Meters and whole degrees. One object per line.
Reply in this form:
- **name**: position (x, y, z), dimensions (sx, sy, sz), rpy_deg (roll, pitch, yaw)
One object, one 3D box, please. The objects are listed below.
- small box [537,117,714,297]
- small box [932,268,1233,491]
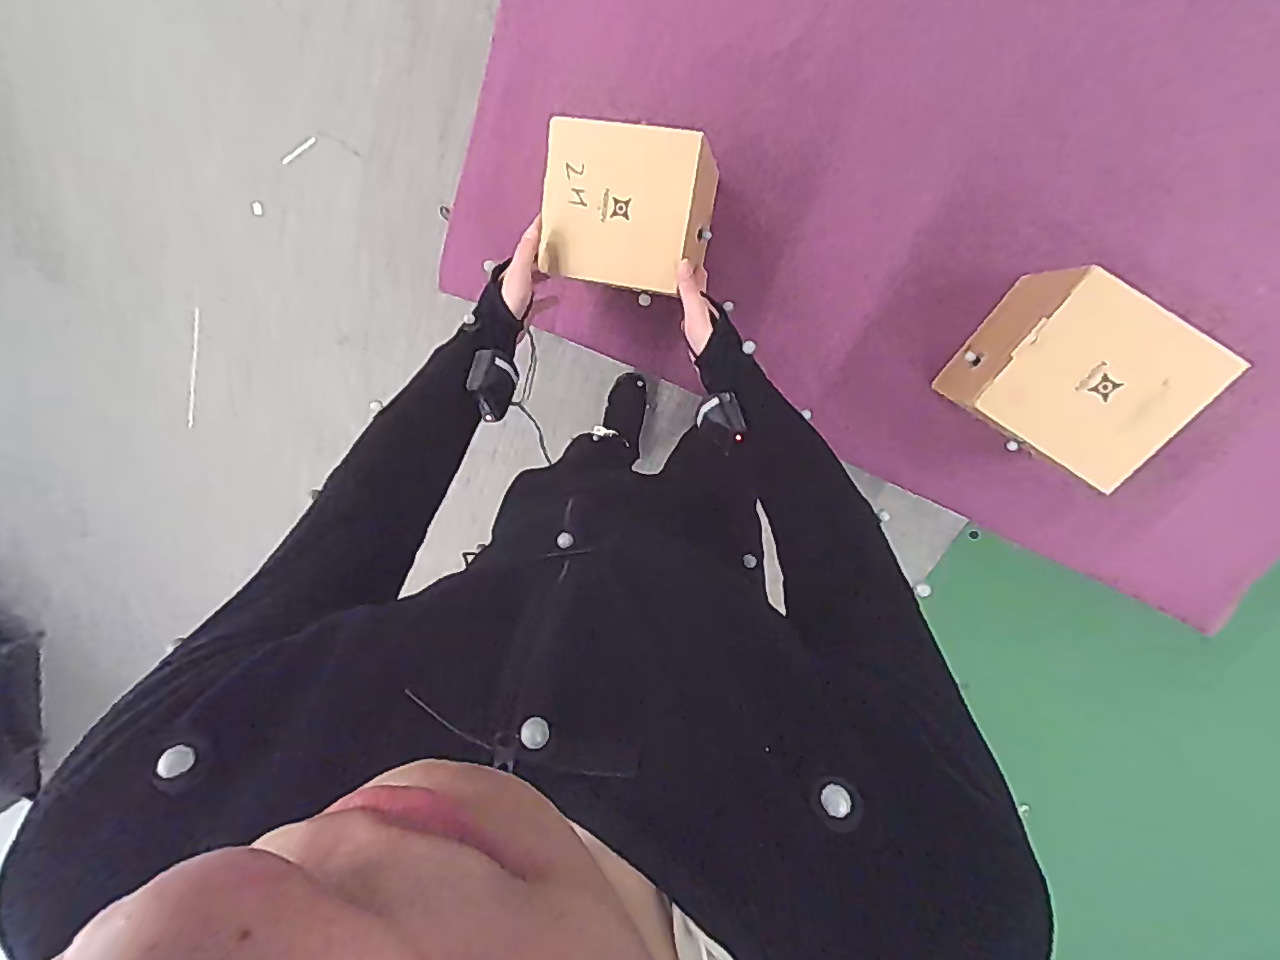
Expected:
- **small box**: position (-0.010, -0.327, 0.679), dimensions (0.179, 0.176, 0.168), rpy_deg (12, 108, 10)
- **small box**: position (0.481, -0.119, 0.628), dimensions (0.179, 0.176, 0.168), rpy_deg (35, 112, 1)
